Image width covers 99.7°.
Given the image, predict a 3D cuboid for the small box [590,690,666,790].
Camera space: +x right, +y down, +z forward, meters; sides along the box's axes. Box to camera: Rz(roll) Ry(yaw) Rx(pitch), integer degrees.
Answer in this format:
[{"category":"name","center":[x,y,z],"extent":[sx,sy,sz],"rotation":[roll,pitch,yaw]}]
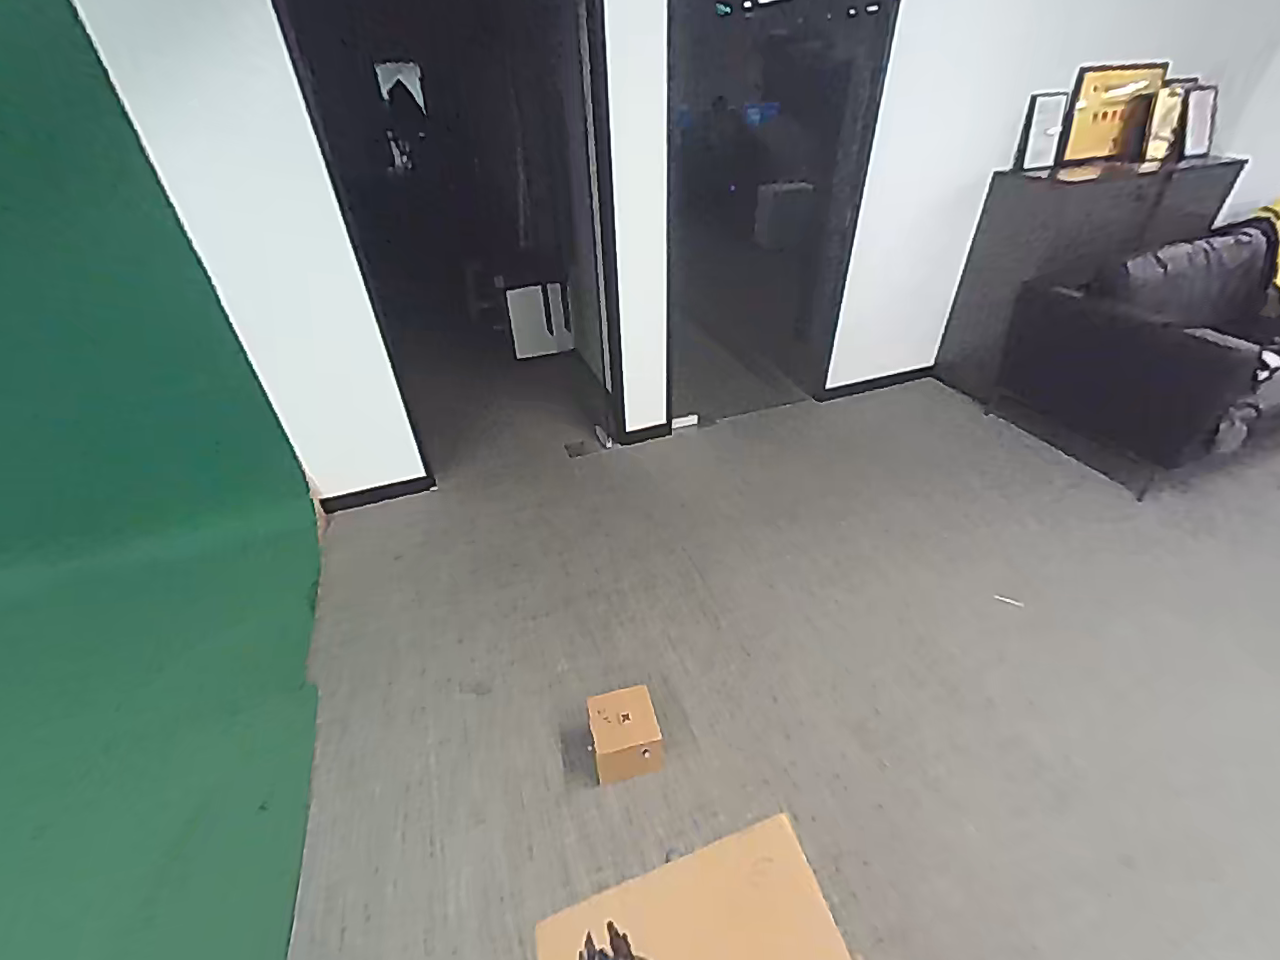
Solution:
[{"category":"small box","center":[-0.035,0.710,1.476],"extent":[0.179,0.176,0.168],"rotation":[-10,37,-10]}]
